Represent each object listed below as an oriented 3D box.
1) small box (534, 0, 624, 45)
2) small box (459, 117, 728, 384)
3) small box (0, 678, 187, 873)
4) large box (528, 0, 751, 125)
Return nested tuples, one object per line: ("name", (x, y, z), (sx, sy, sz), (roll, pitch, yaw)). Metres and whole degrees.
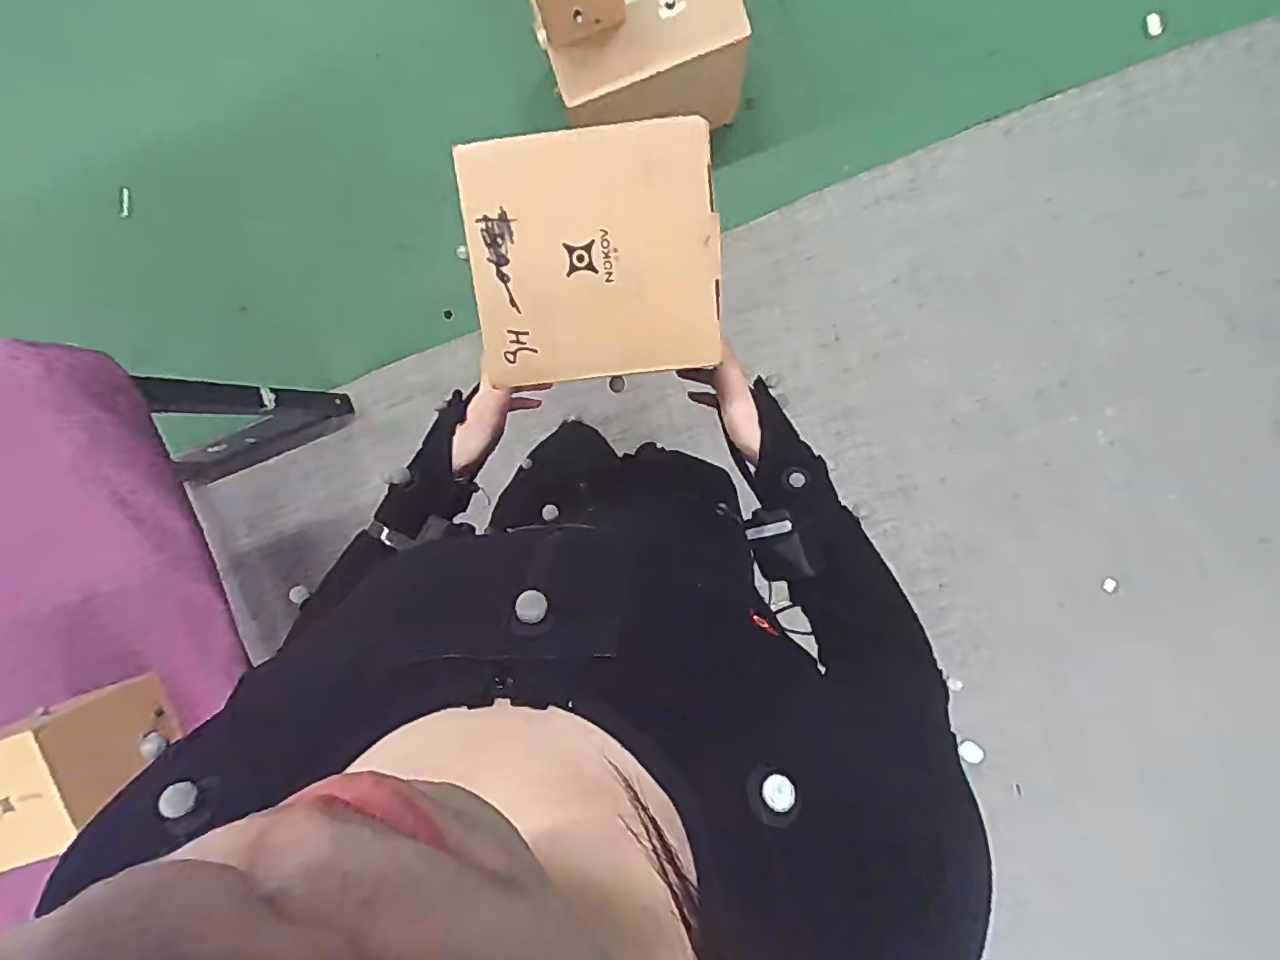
("small box", (-0.136, -0.974, 1.002), (0.168, 0.176, 0.179), (-18, 94, 5))
("small box", (-0.030, -0.170, 0.449), (0.179, 0.176, 0.168), (-4, 101, 0))
("small box", (-0.806, 0.407, 0.758), (0.179, 0.176, 0.168), (-19, 94, 5))
("large box", (-0.003, -0.981, 1.236), (0.408, 0.320, 0.320), (-18, 94, 5))
